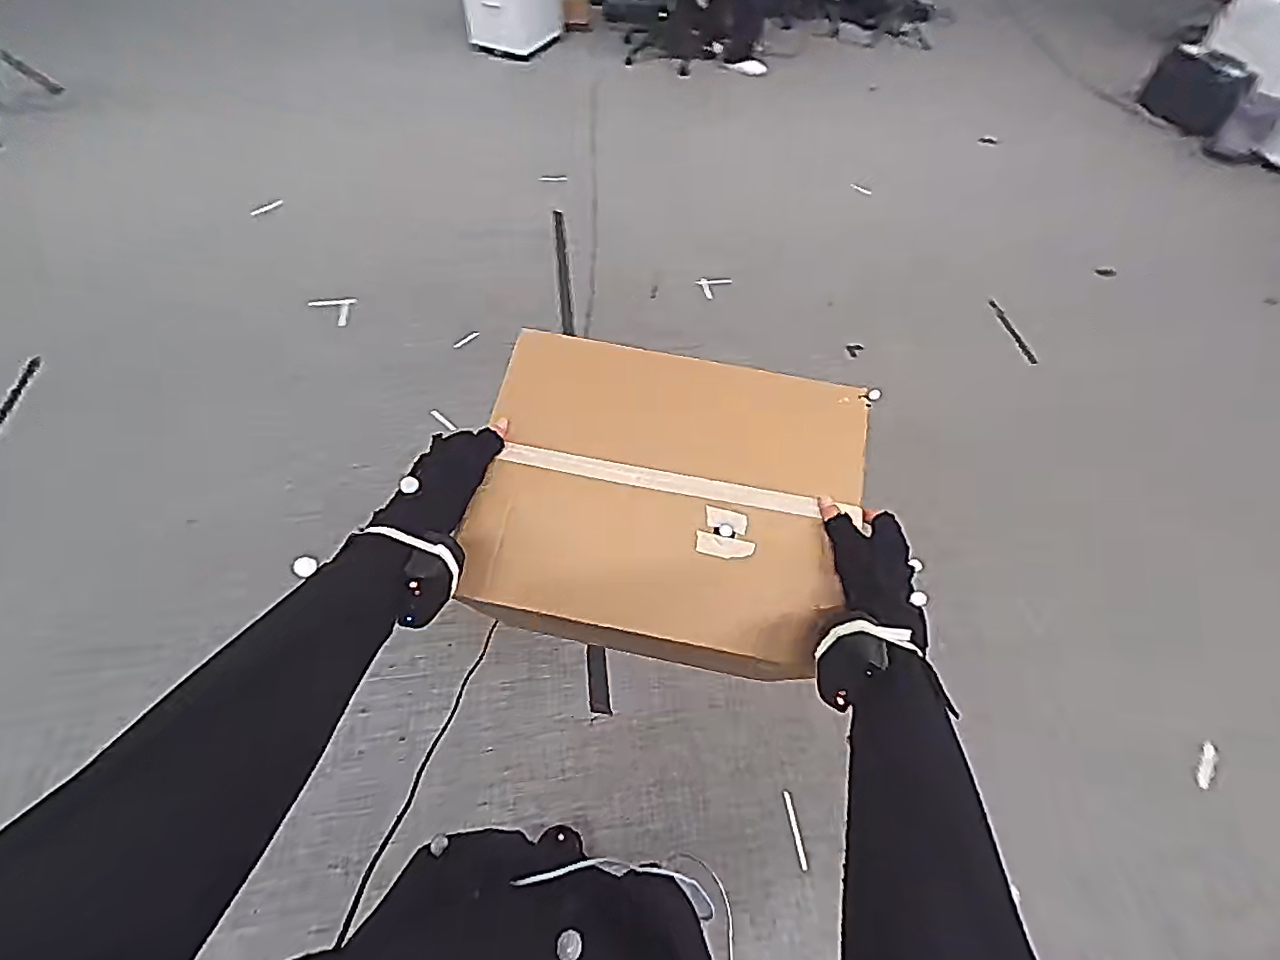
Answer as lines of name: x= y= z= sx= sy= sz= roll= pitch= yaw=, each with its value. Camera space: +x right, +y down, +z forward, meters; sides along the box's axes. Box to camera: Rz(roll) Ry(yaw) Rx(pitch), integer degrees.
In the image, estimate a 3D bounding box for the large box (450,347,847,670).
large box: x=0.019 y=0.062 z=0.728 sx=0.408 sy=0.320 sz=0.320 roll=10 pitch=70 yaw=2
